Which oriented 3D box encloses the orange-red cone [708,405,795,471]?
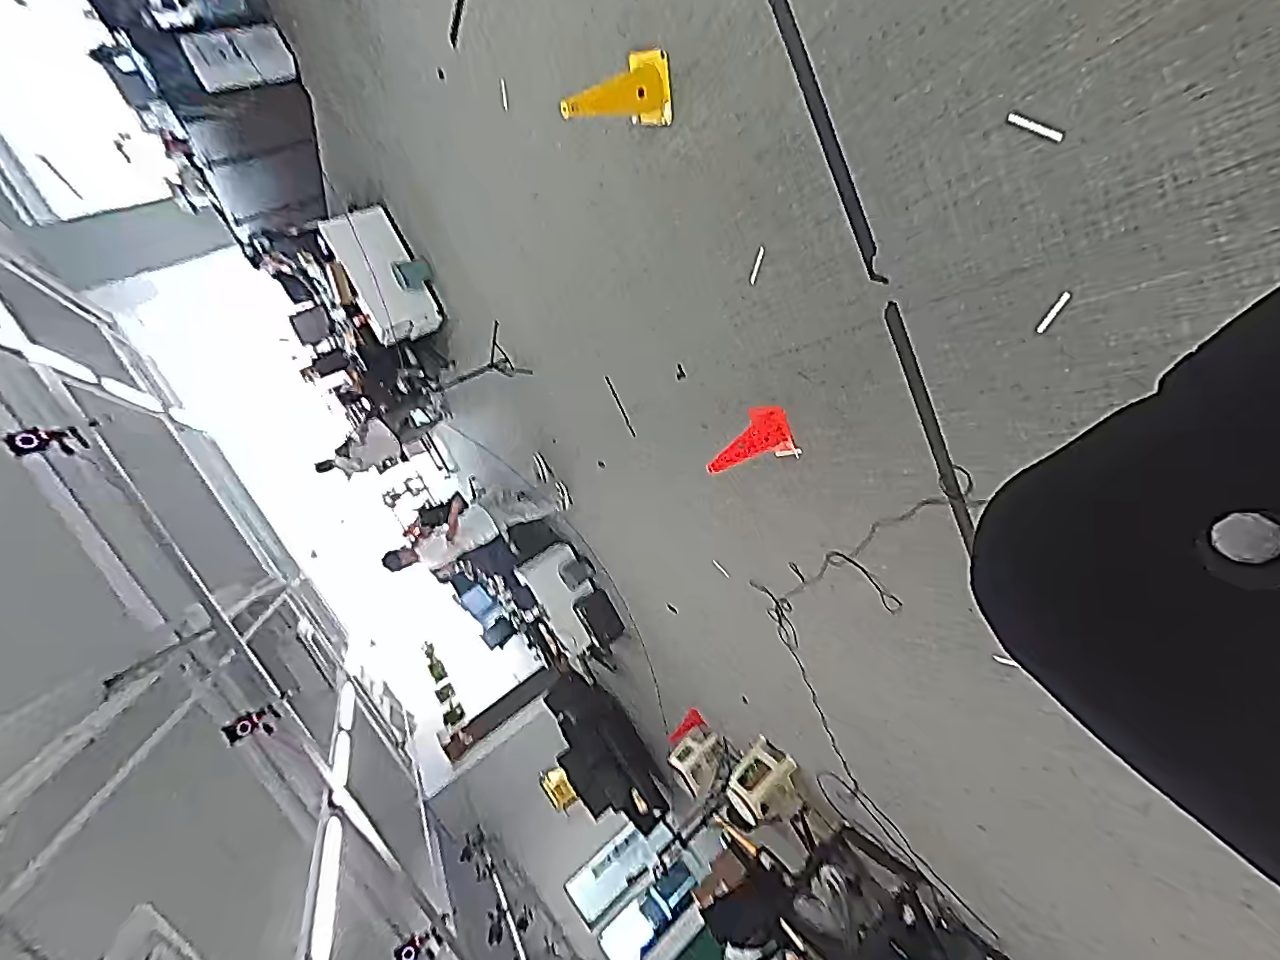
[{"bbox_3d":[0.412,-0.137,2.158,0.198,0.360,0.199,10,126,59],"label":"orange-red cone"}]
